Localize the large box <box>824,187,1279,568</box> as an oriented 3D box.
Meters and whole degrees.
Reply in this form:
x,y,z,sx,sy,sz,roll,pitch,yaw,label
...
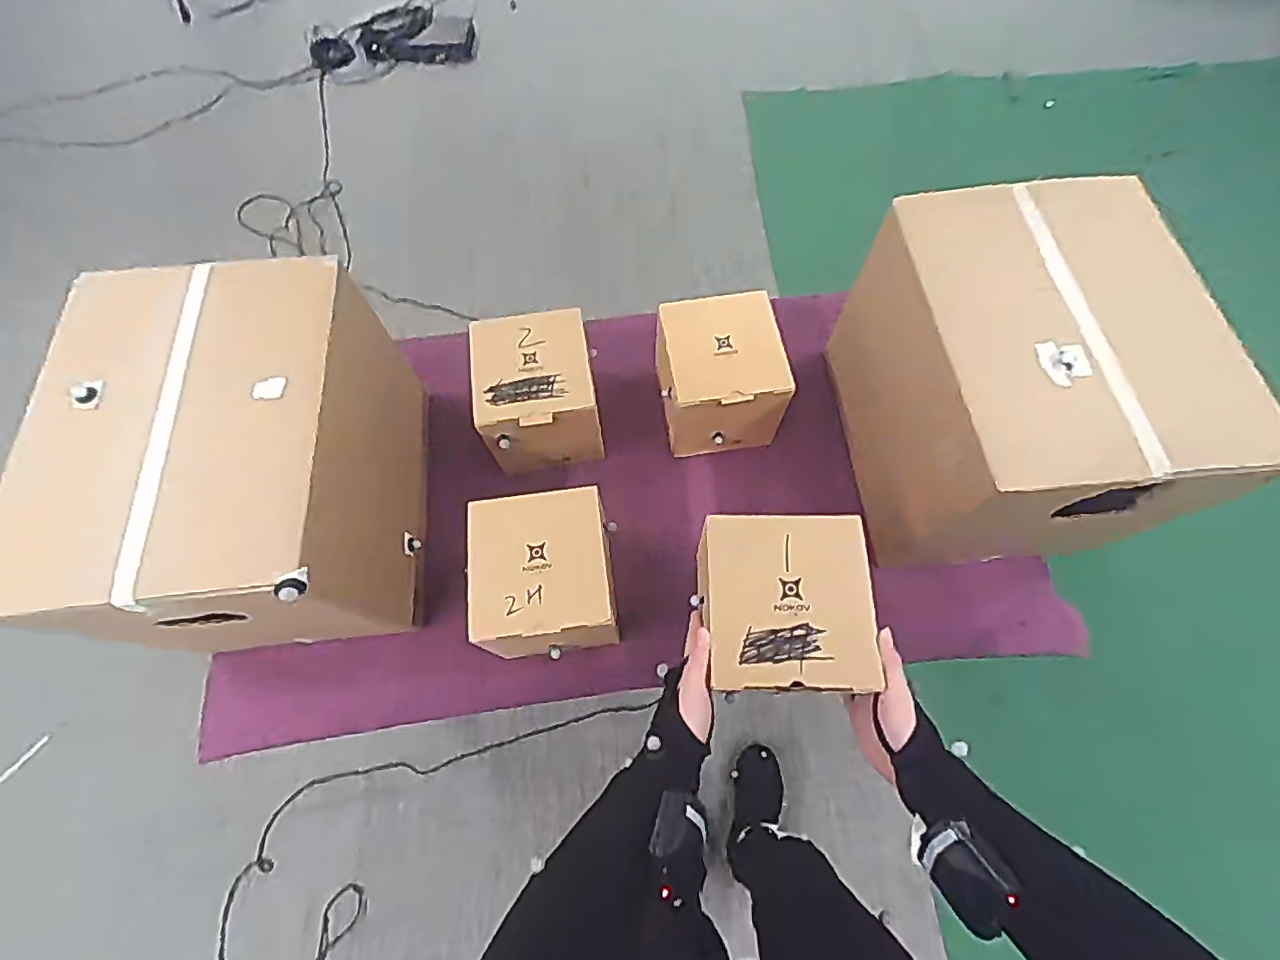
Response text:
x,y,z,sx,sy,sz,roll,pitch,yaw,label
0.487,-0.119,0.740,0.320,0.320,0.408,-5,68,0,large box

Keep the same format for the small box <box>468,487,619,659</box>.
x,y,z,sx,sy,sz,roll,pitch,yaw,label
-0.120,0.128,0.713,0.168,0.176,0.179,-7,66,-2,small box

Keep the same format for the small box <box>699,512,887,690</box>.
x,y,z,sx,sy,sz,roll,pitch,yaw,label
0.157,0.144,0.615,0.168,0.176,0.179,0,68,2,small box
